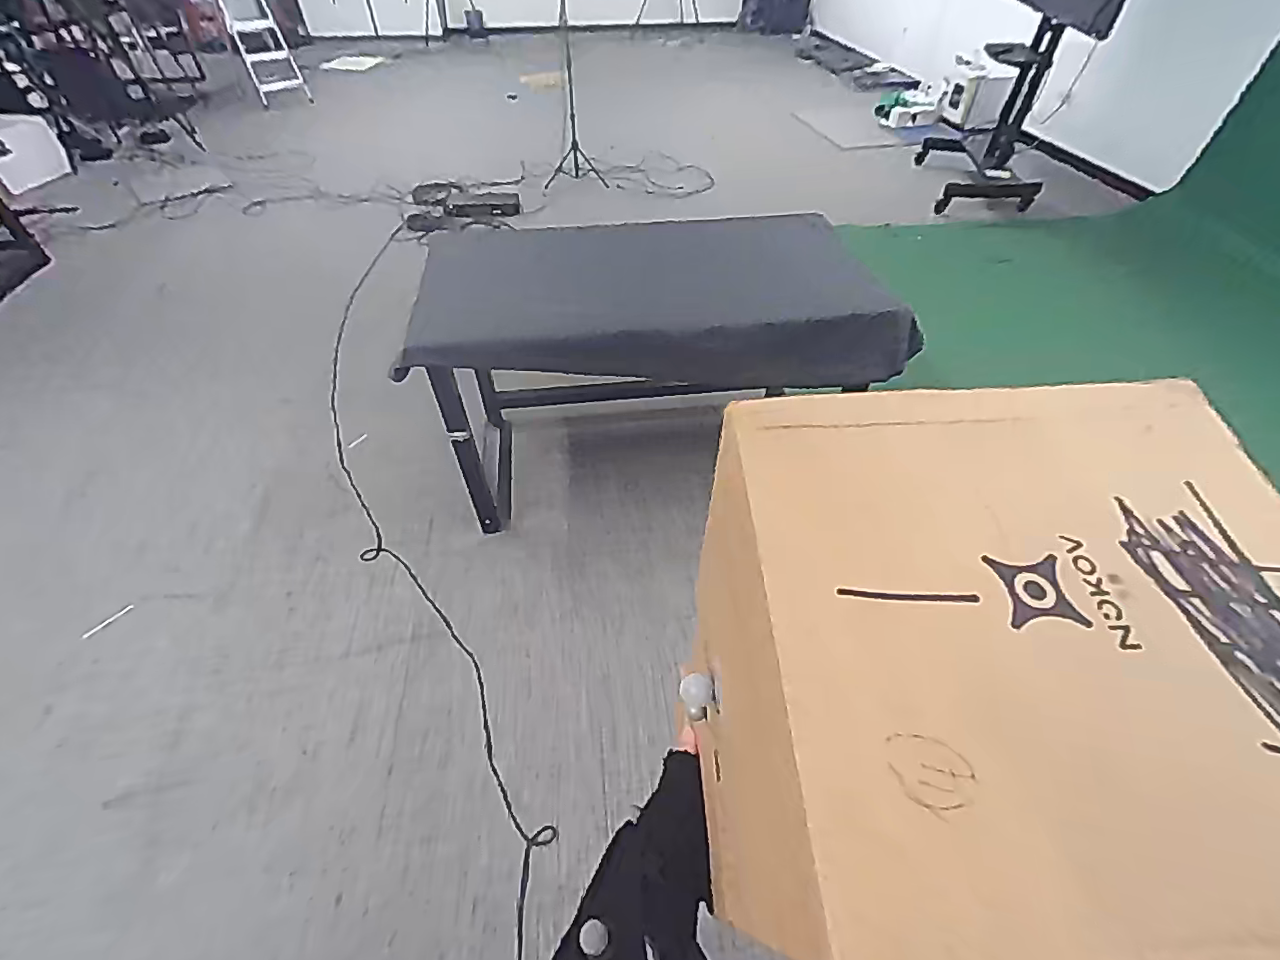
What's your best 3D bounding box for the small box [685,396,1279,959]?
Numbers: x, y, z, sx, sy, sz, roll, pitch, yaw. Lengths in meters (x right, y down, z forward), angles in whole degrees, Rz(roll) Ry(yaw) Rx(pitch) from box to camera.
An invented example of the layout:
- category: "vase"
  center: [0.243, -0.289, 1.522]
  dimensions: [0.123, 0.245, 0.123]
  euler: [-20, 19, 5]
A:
- category: "small box"
  center: [0.122, 0.083, 0.232]
  dimensions: [0.179, 0.176, 0.168]
  euler: [-3, 55, -4]
